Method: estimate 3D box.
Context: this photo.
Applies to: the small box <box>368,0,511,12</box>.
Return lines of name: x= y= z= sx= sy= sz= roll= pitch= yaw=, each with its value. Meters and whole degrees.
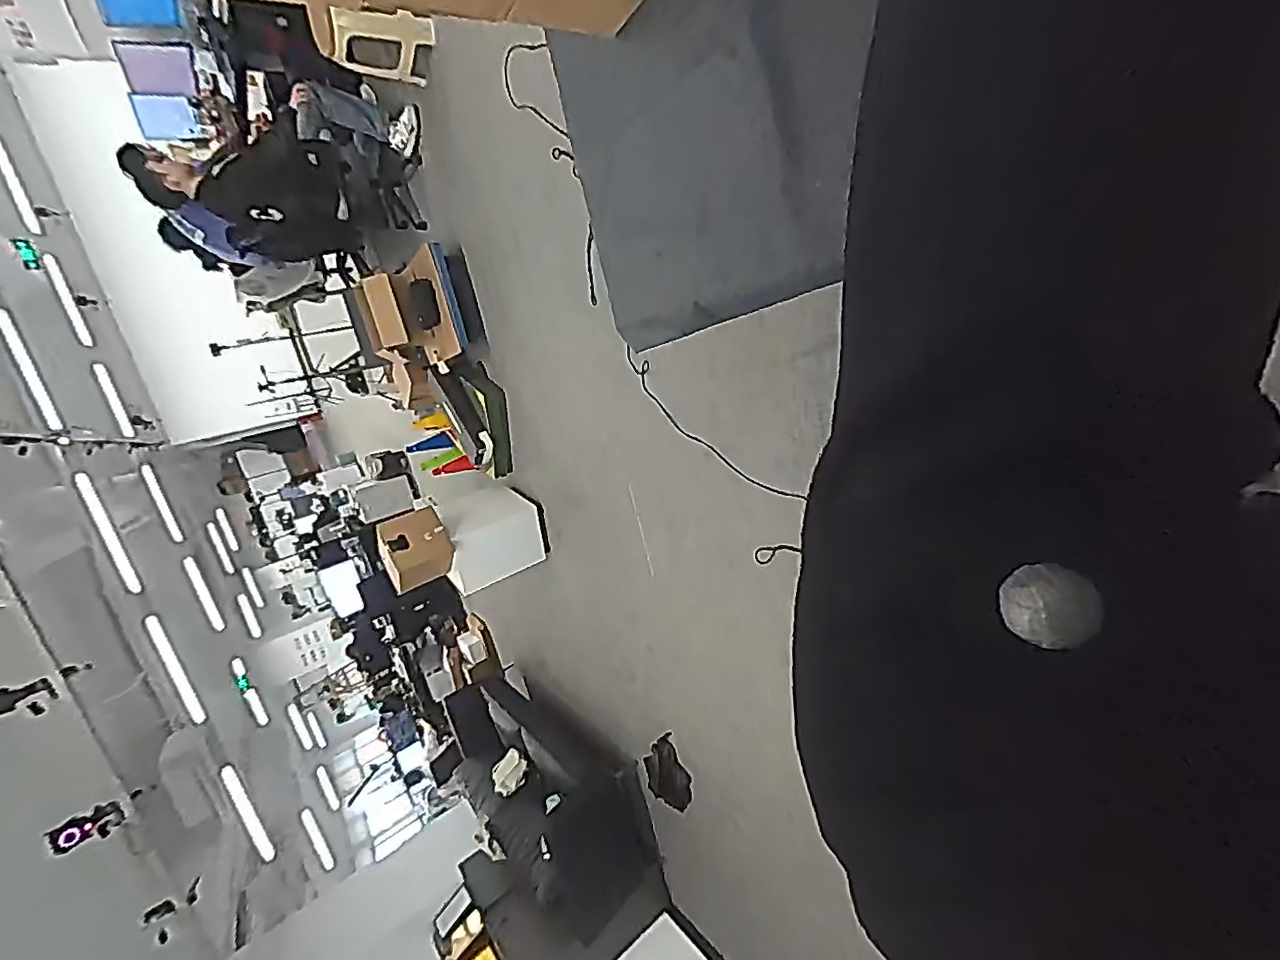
small box: x=-0.193 y=-0.592 z=0.511 sx=0.179 sy=0.176 sz=0.168 roll=-1 pitch=111 yaw=55
